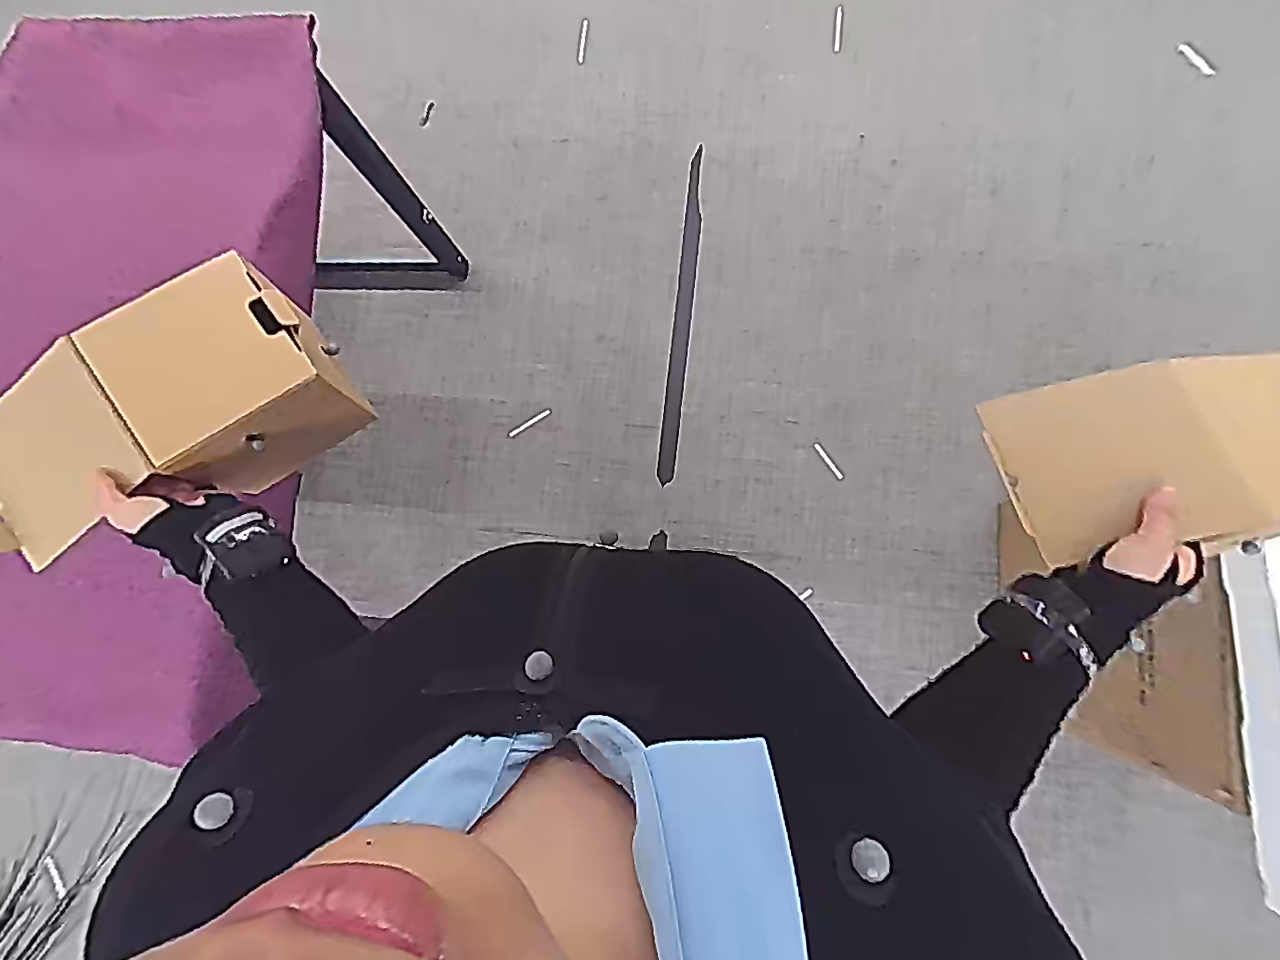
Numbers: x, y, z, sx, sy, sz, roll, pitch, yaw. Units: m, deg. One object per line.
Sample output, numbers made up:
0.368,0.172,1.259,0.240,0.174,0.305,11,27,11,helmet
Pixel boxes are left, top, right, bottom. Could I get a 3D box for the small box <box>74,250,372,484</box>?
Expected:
-0.449,-0.112,0.616,0.179,0.176,0.168,-35,86,-10,small box
